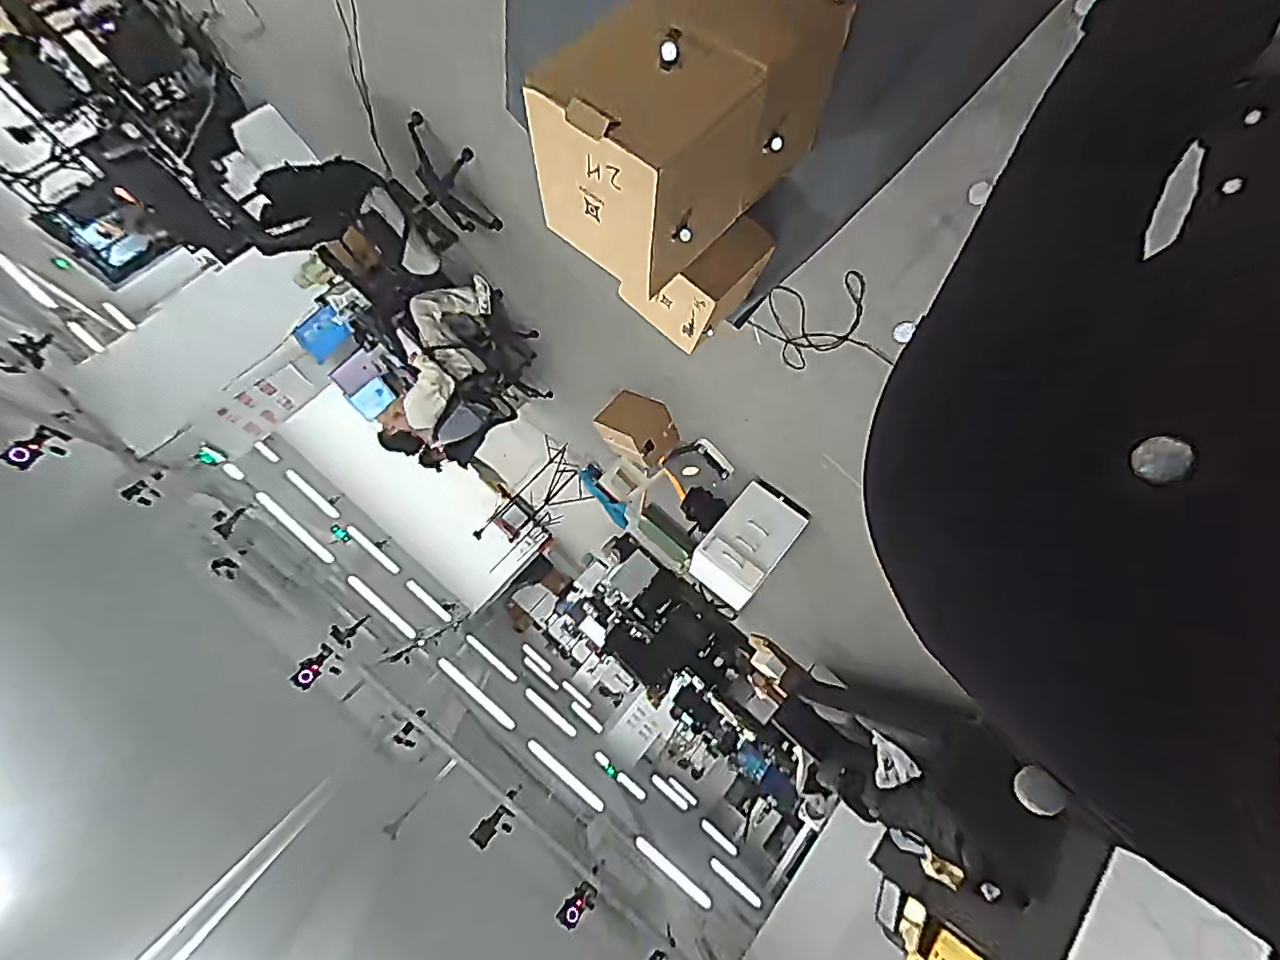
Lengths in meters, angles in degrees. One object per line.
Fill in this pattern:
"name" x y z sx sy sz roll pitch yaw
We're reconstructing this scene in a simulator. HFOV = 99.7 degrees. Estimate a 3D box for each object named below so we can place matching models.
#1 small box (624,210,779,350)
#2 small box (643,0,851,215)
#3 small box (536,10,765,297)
"small box" 0.100 -0.367 0.925 0.179 0.176 0.168 42 163 3
"small box" 0.117 -0.467 0.639 0.168 0.176 0.179 37 163 14
"small box" 0.013 -0.349 0.593 0.168 0.176 0.179 39 163 11
